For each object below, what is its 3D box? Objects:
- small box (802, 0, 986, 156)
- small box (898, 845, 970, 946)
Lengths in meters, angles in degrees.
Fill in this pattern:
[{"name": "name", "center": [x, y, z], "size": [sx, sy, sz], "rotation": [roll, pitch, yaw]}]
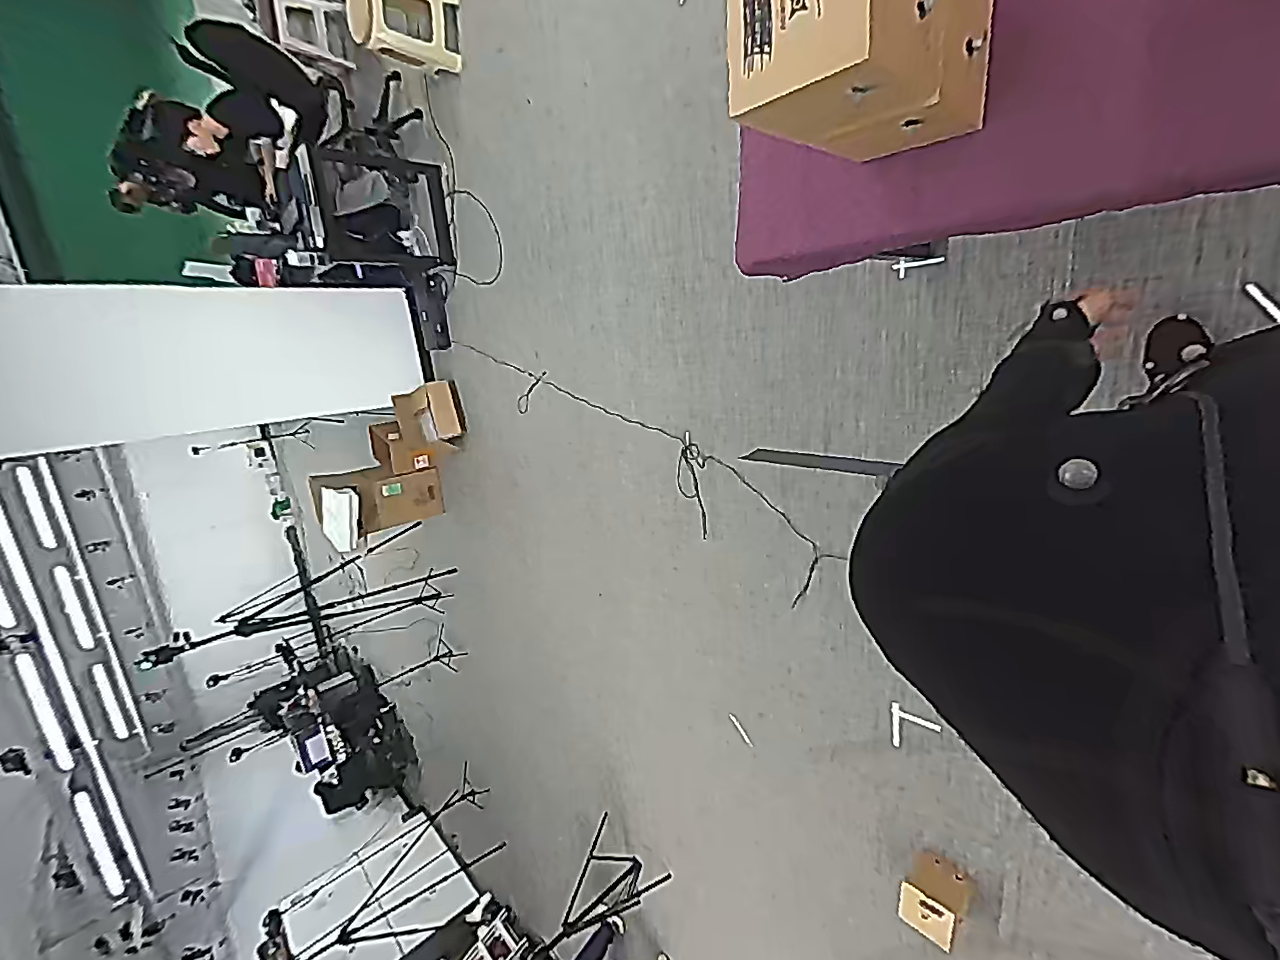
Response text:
[{"name": "small box", "center": [0.339, -0.557, 0.725], "size": [0.179, 0.176, 0.168], "rotation": [13, 113, 45]}, {"name": "small box", "center": [1.006, 1.407, 1.845], "size": [0.168, 0.176, 0.179], "rotation": [15, 116, 46]}]
